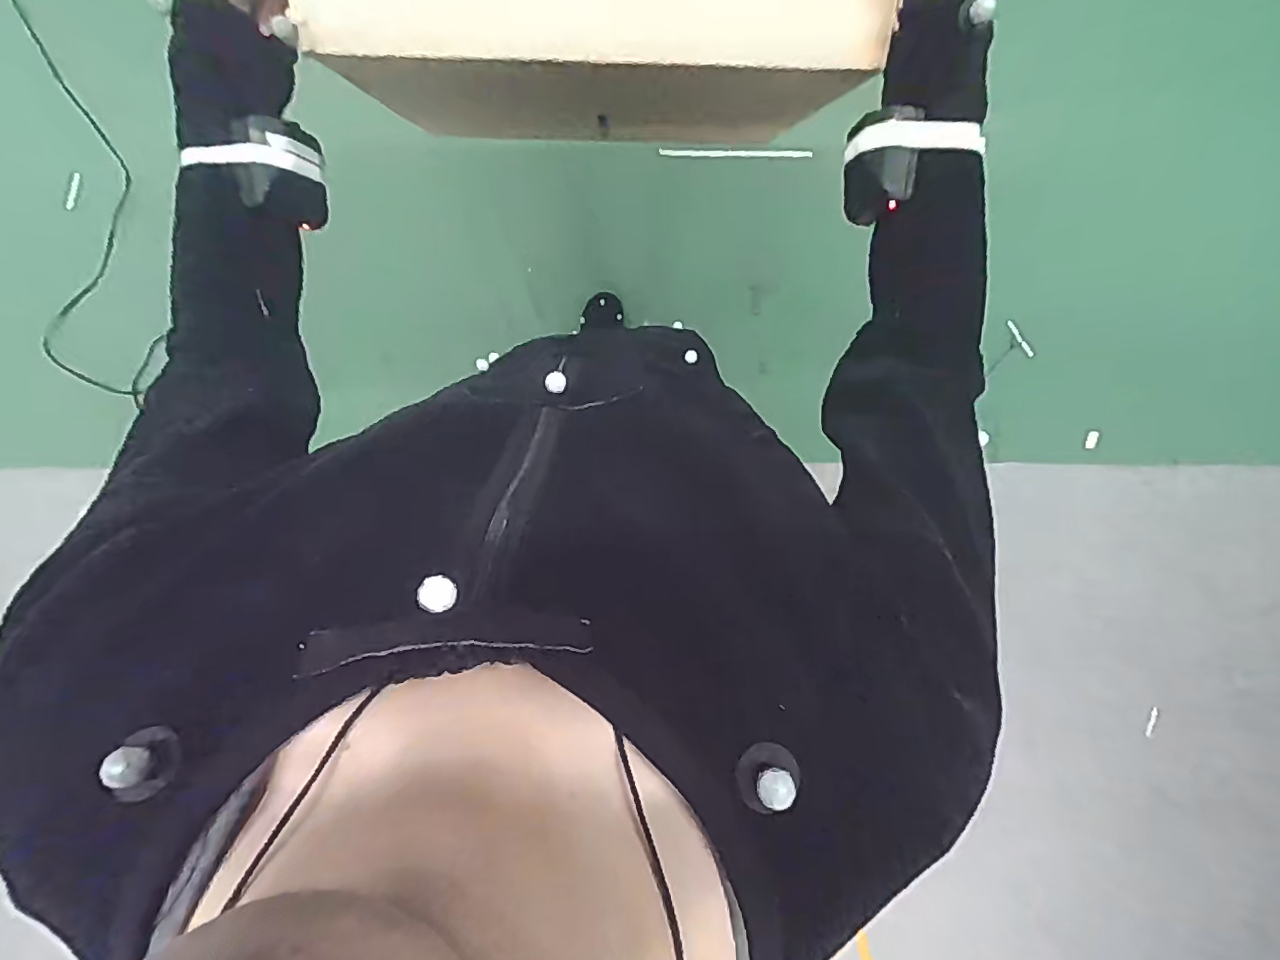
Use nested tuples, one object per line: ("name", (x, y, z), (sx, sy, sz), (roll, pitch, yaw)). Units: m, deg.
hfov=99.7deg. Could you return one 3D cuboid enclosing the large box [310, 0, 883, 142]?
("large box", (-0.033, -0.492, 0.466), (0.408, 0.320, 0.320), (-1, 113, -3))
